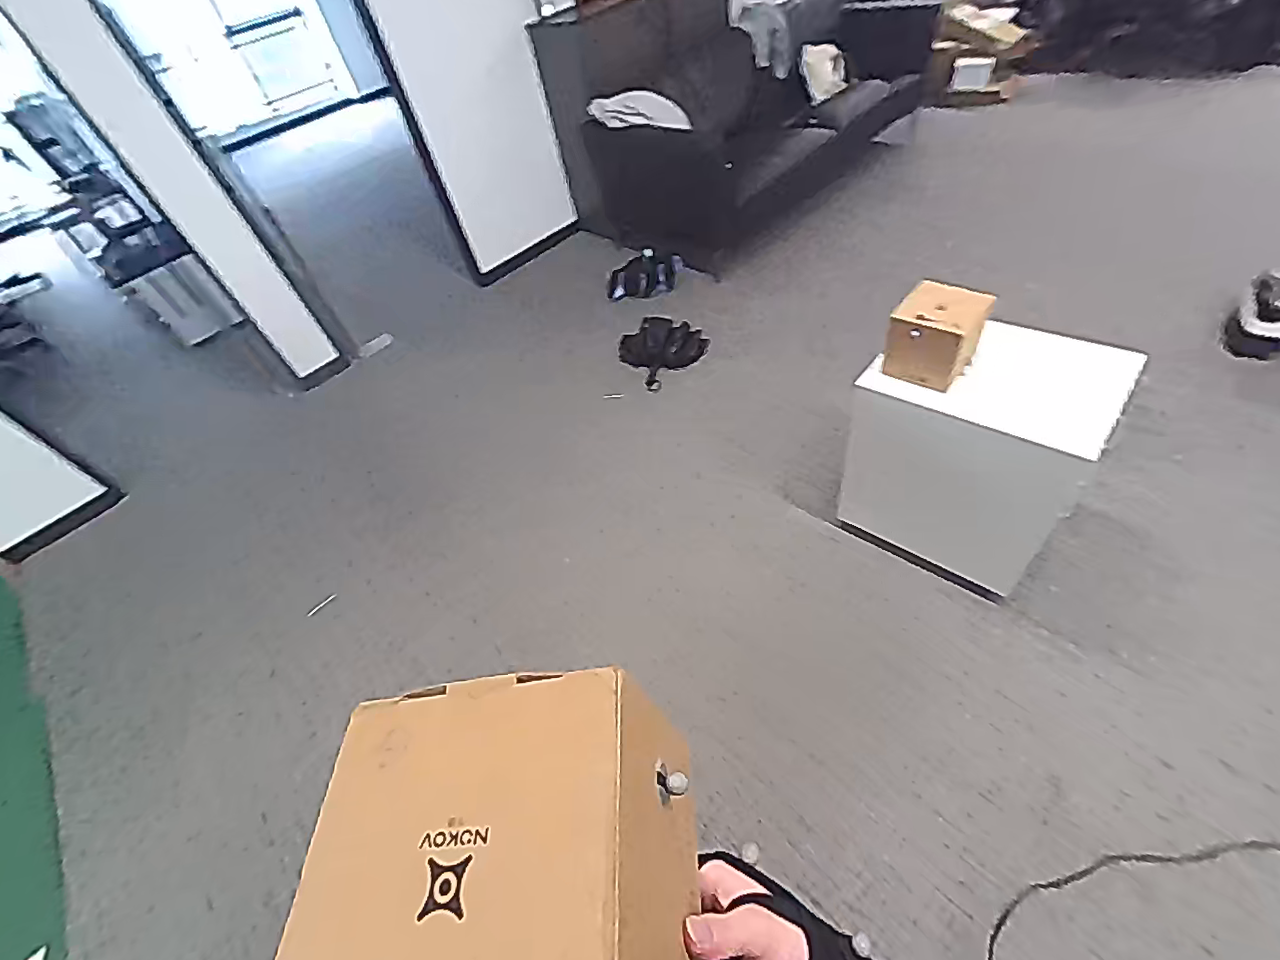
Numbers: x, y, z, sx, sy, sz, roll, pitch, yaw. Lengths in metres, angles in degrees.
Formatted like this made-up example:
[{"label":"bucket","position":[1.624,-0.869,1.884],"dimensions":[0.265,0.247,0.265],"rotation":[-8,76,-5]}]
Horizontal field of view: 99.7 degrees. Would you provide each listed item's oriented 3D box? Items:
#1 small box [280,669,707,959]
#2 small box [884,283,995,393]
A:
[{"label":"small box","position":[-0.061,0.230,0.306],"dimensions":[0.168,0.176,0.179],"rotation":[-13,49,13]},{"label":"small box","position":[0.709,-0.341,1.300],"dimensions":[0.168,0.176,0.179],"rotation":[30,60,33]}]
